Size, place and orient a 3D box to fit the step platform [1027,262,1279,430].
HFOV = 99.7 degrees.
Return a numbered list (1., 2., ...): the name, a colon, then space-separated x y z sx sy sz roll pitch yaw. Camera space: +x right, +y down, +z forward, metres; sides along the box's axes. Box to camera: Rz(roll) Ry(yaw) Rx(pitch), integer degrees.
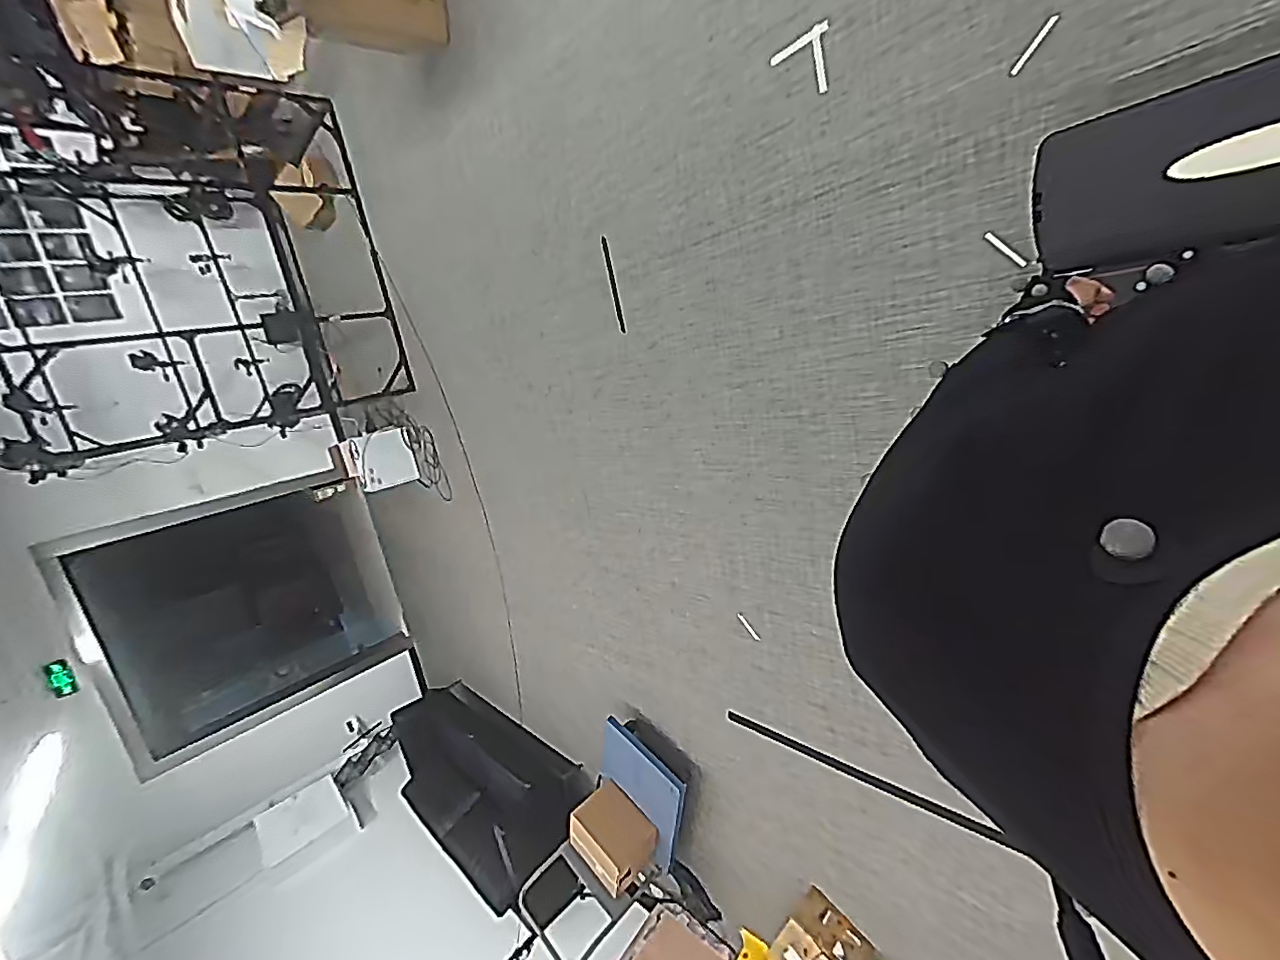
1. step platform: 1.113 -0.242 0.968 0.684 0.204 0.286 10 113 48
